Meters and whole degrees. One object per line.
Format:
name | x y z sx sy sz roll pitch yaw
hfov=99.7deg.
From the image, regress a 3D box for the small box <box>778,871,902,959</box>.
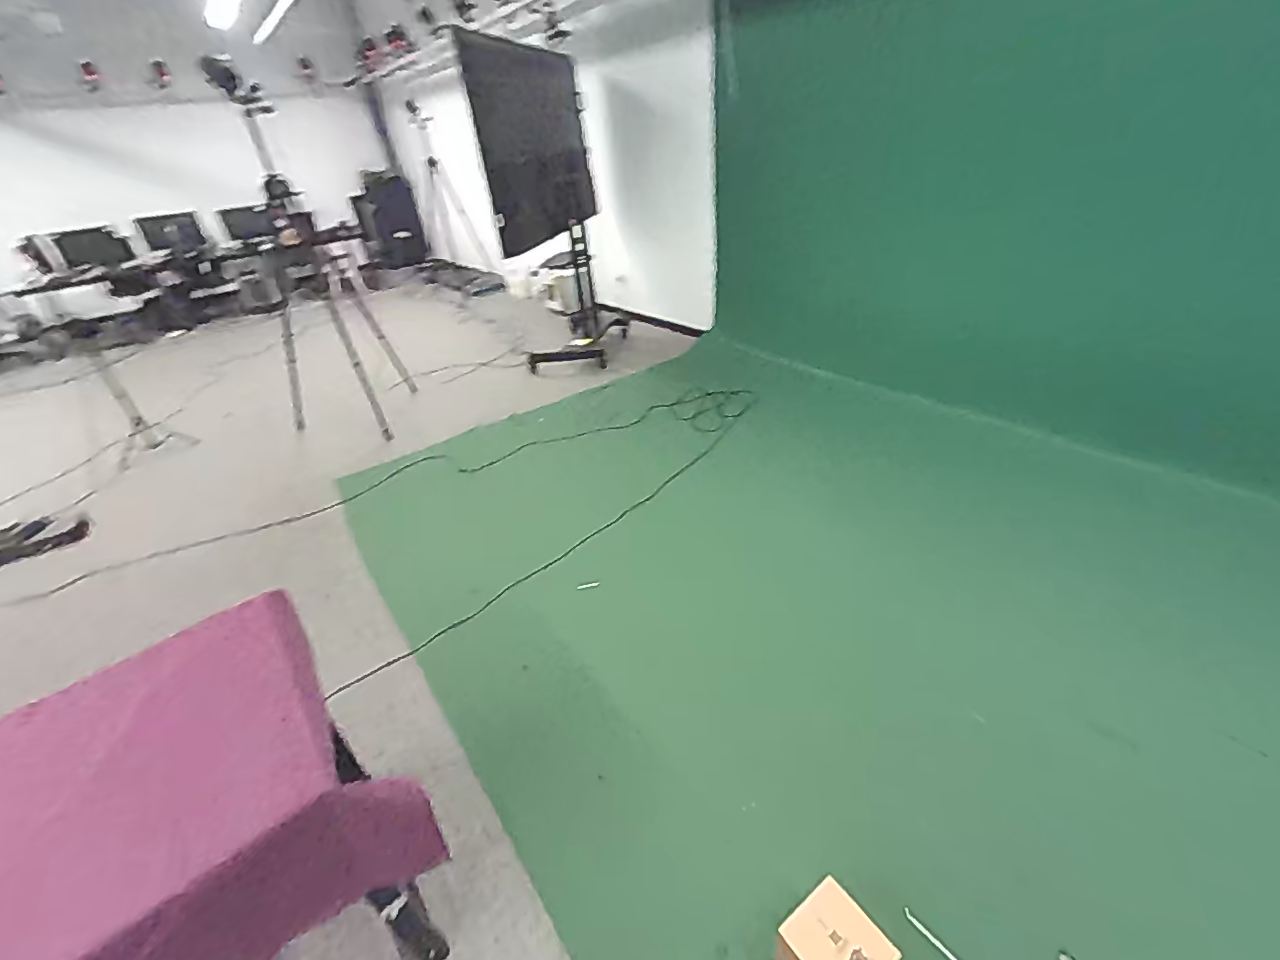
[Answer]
small box | 0.406 0.978 1.122 0.168 0.176 0.179 -25 36 -26
